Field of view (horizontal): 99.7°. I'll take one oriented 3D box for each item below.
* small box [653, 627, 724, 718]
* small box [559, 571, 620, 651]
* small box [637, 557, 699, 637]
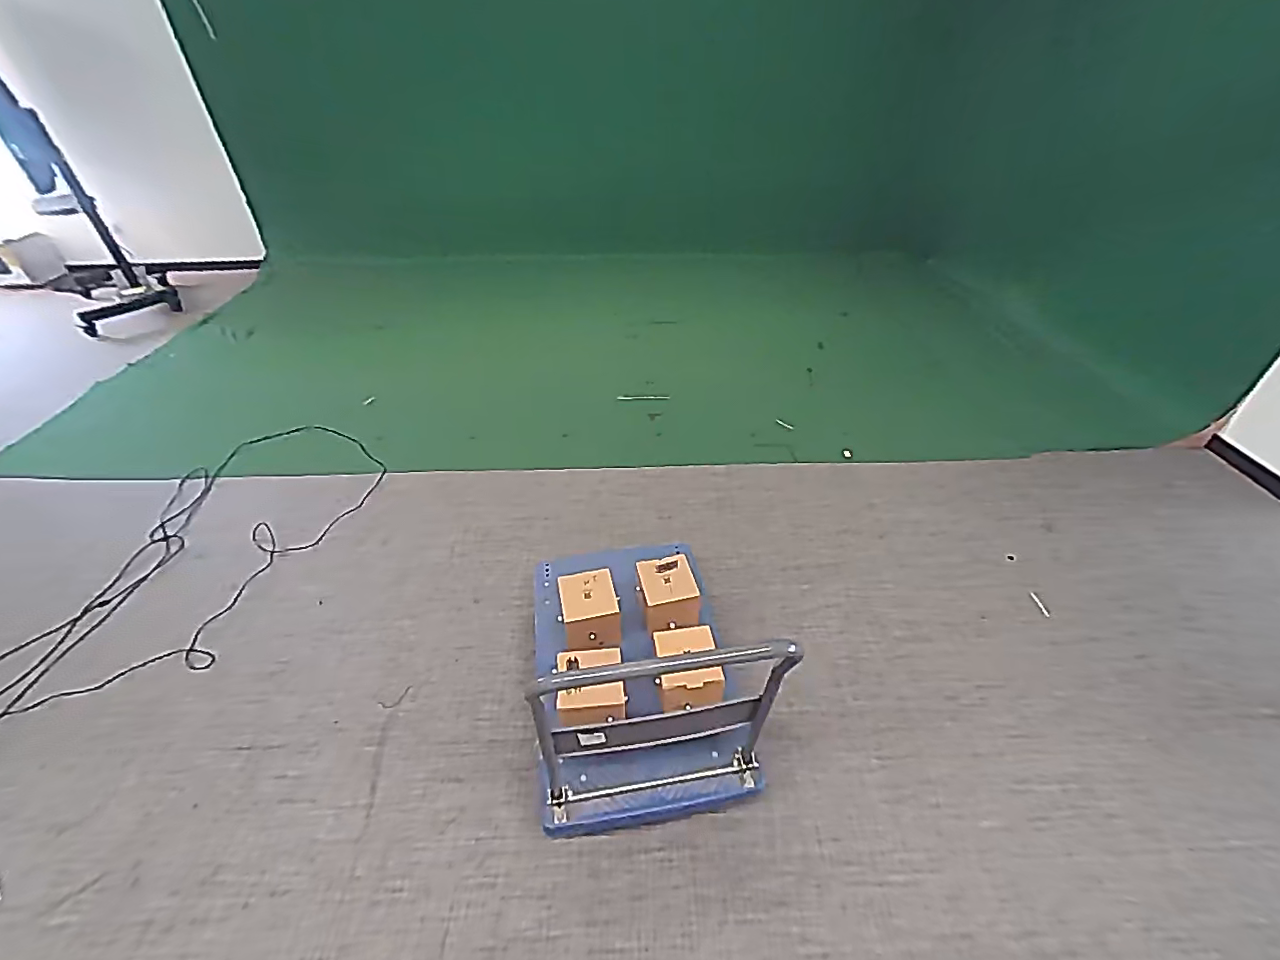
[{"bbox_3d":[0.132,0.552,1.551,0.168,0.176,0.179,-6,41,-7],"label":"small box"},{"bbox_3d":[-0.159,0.420,1.710,0.168,0.176,0.179,-8,41,-10],"label":"small box"},{"bbox_3d":[0.086,0.380,1.754,0.168,0.176,0.179,-10,42,-9],"label":"small box"}]
